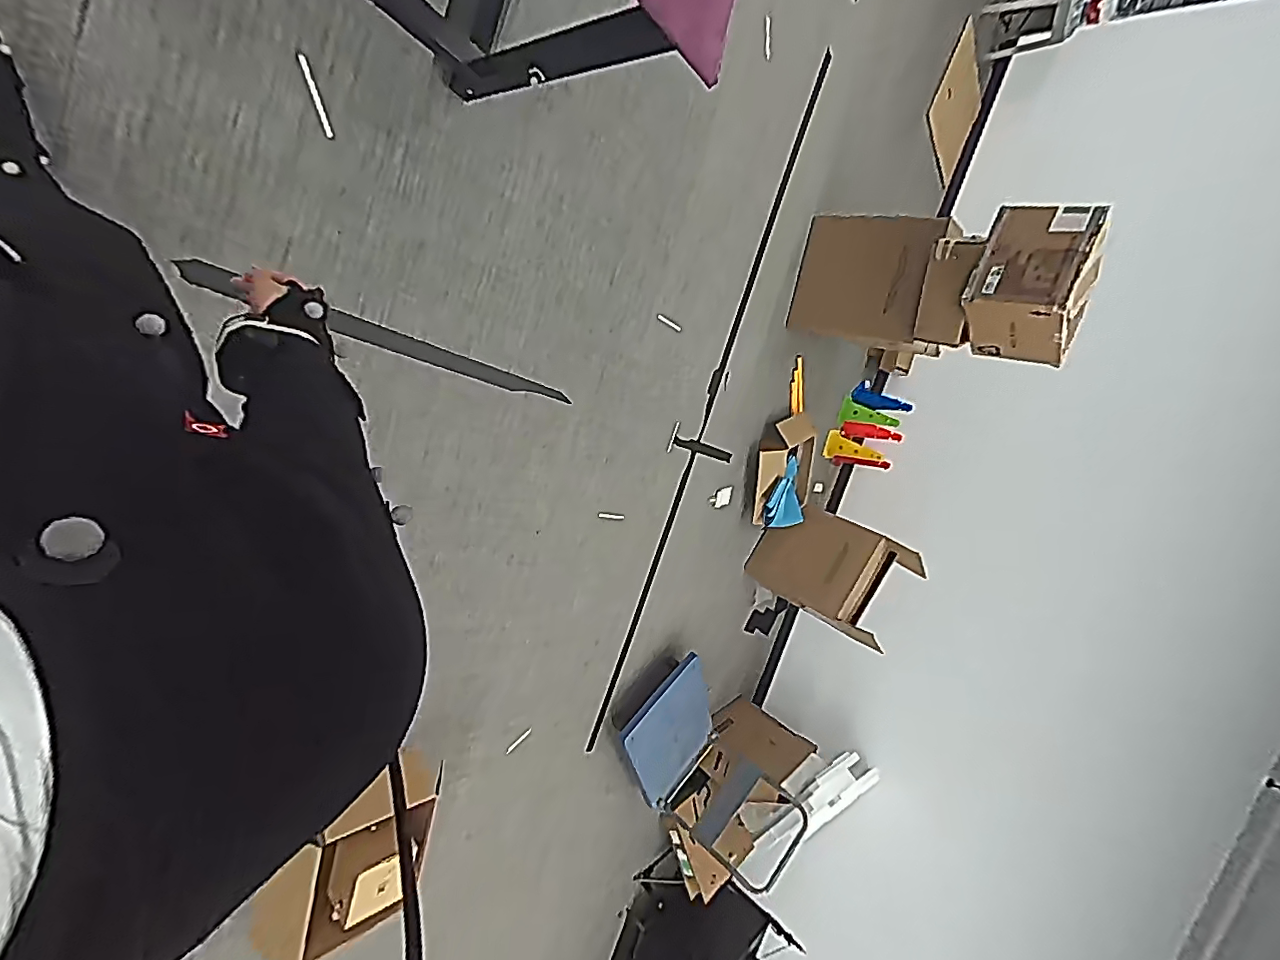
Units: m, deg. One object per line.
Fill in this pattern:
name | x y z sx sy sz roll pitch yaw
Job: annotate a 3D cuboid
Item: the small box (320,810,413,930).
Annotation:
small box | -0.766 1.075 1.505 0.168 0.176 0.179 6 103 -52
